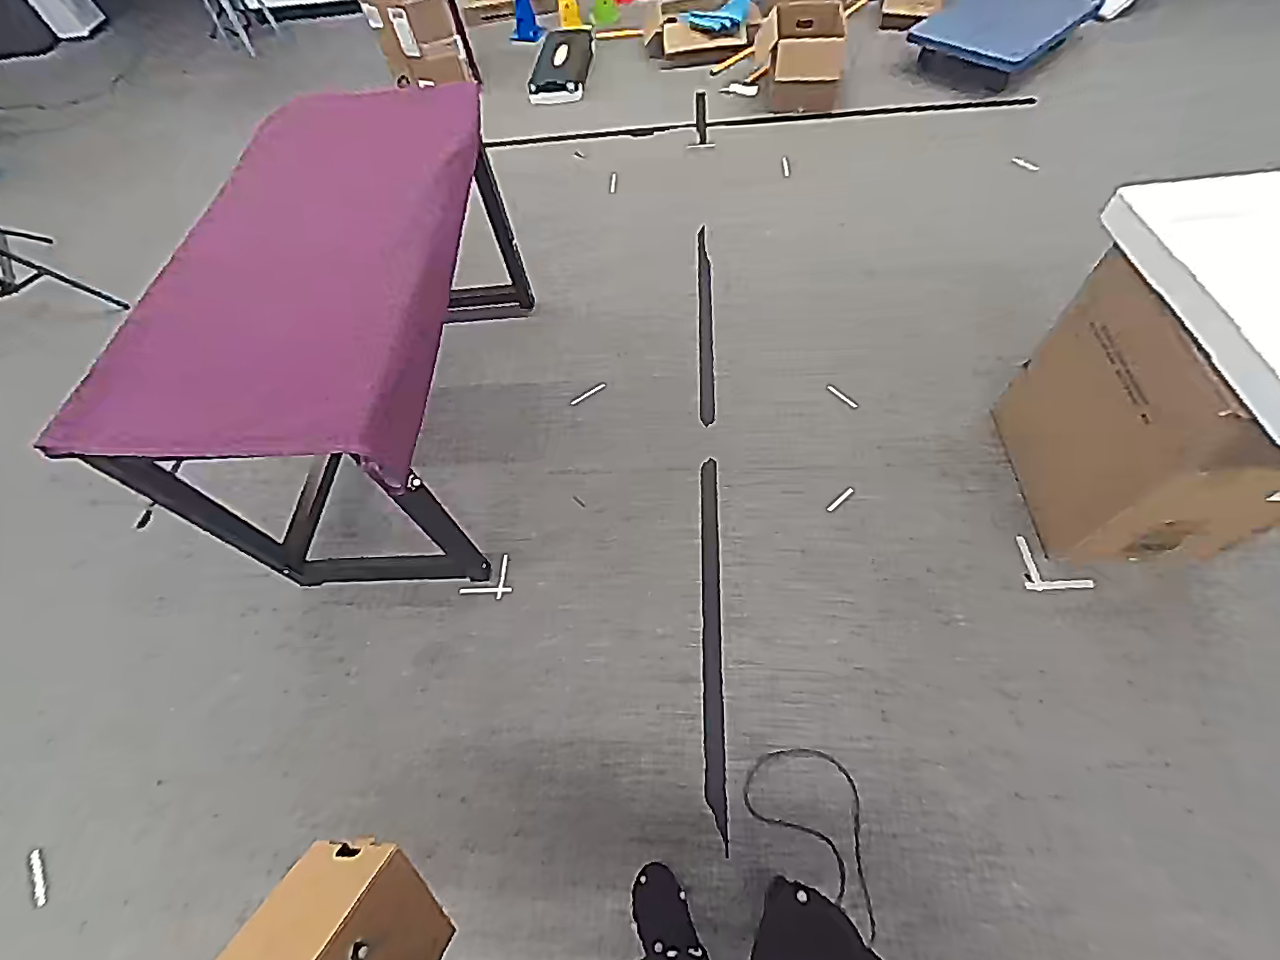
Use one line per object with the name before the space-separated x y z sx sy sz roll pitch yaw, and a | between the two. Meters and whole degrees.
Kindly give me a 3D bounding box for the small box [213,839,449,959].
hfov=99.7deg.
small box | -0.369 0.581 0.658 0.168 0.176 0.179 -14 17 24
